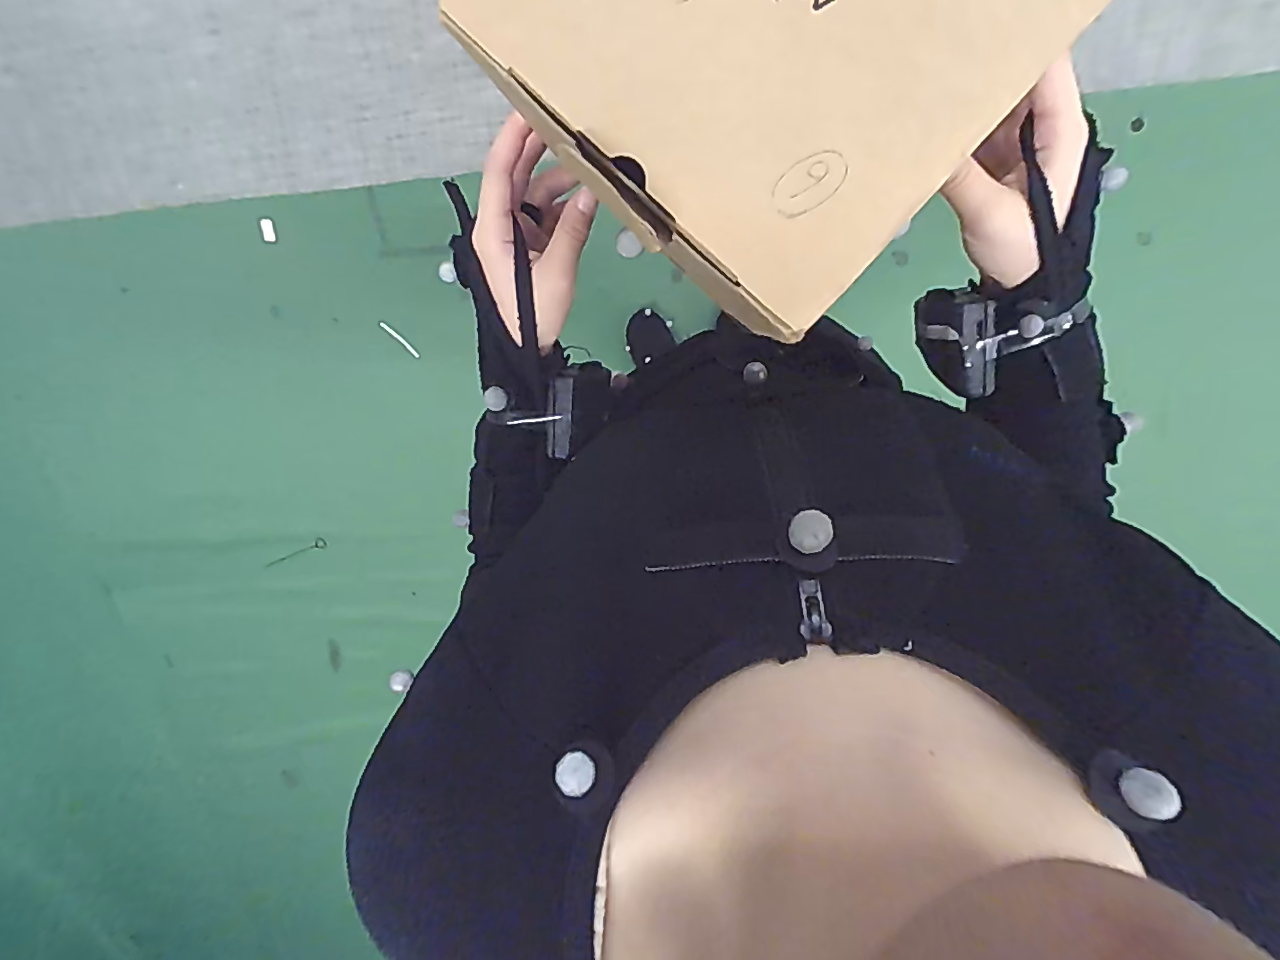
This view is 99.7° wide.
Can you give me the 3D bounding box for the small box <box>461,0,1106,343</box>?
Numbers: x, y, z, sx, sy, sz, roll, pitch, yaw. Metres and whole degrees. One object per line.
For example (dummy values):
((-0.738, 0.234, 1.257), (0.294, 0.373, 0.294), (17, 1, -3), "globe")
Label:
((0.058, -0.186, 0.254), (0.168, 0.176, 0.179), (40, 106, -7), "small box")
